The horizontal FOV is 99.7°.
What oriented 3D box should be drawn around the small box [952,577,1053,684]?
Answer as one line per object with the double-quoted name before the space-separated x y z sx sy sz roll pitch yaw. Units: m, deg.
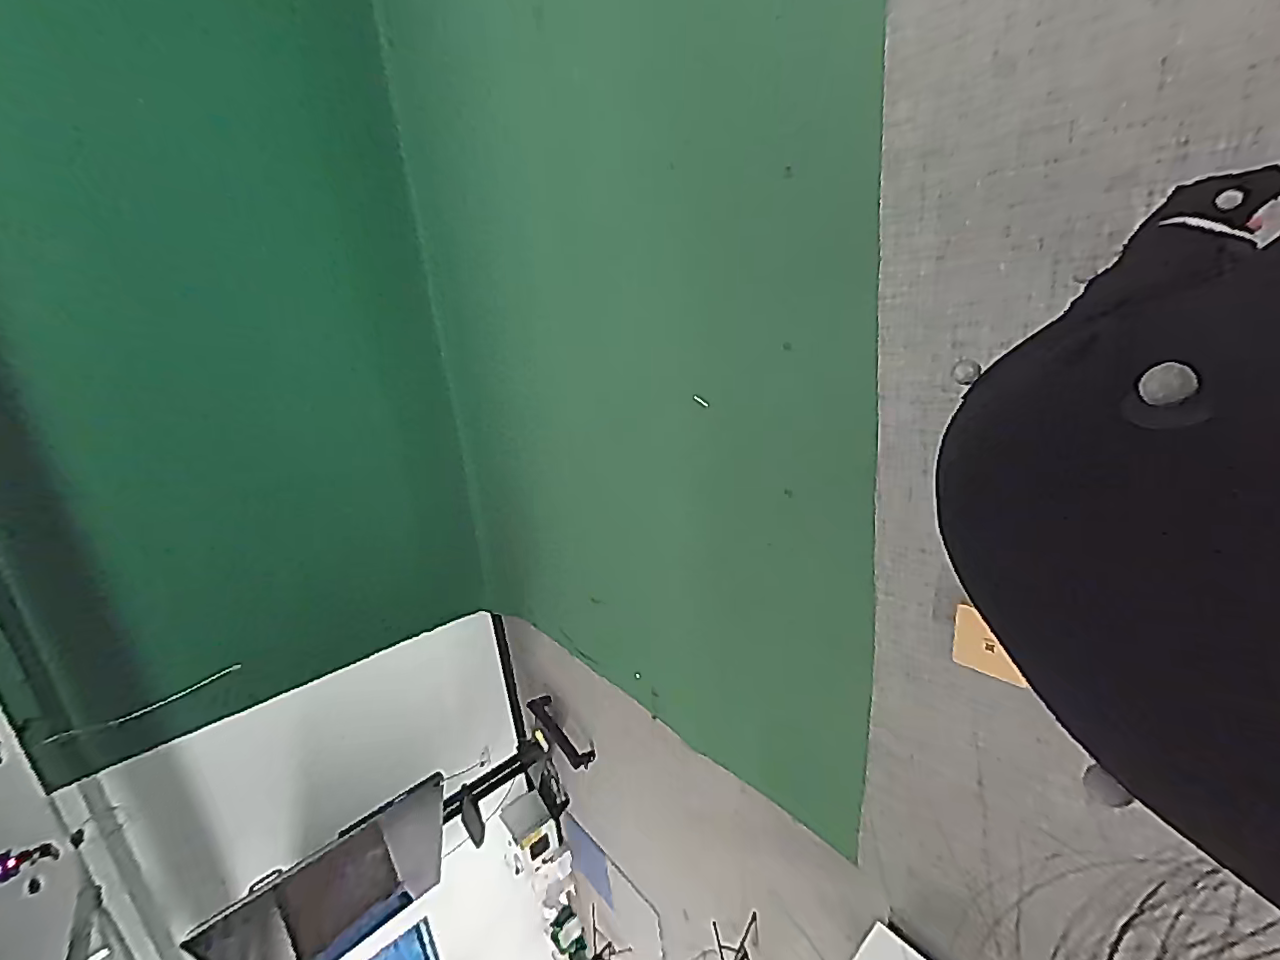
"small box" 0.920 0.373 1.373 0.168 0.176 0.179 15 115 48
